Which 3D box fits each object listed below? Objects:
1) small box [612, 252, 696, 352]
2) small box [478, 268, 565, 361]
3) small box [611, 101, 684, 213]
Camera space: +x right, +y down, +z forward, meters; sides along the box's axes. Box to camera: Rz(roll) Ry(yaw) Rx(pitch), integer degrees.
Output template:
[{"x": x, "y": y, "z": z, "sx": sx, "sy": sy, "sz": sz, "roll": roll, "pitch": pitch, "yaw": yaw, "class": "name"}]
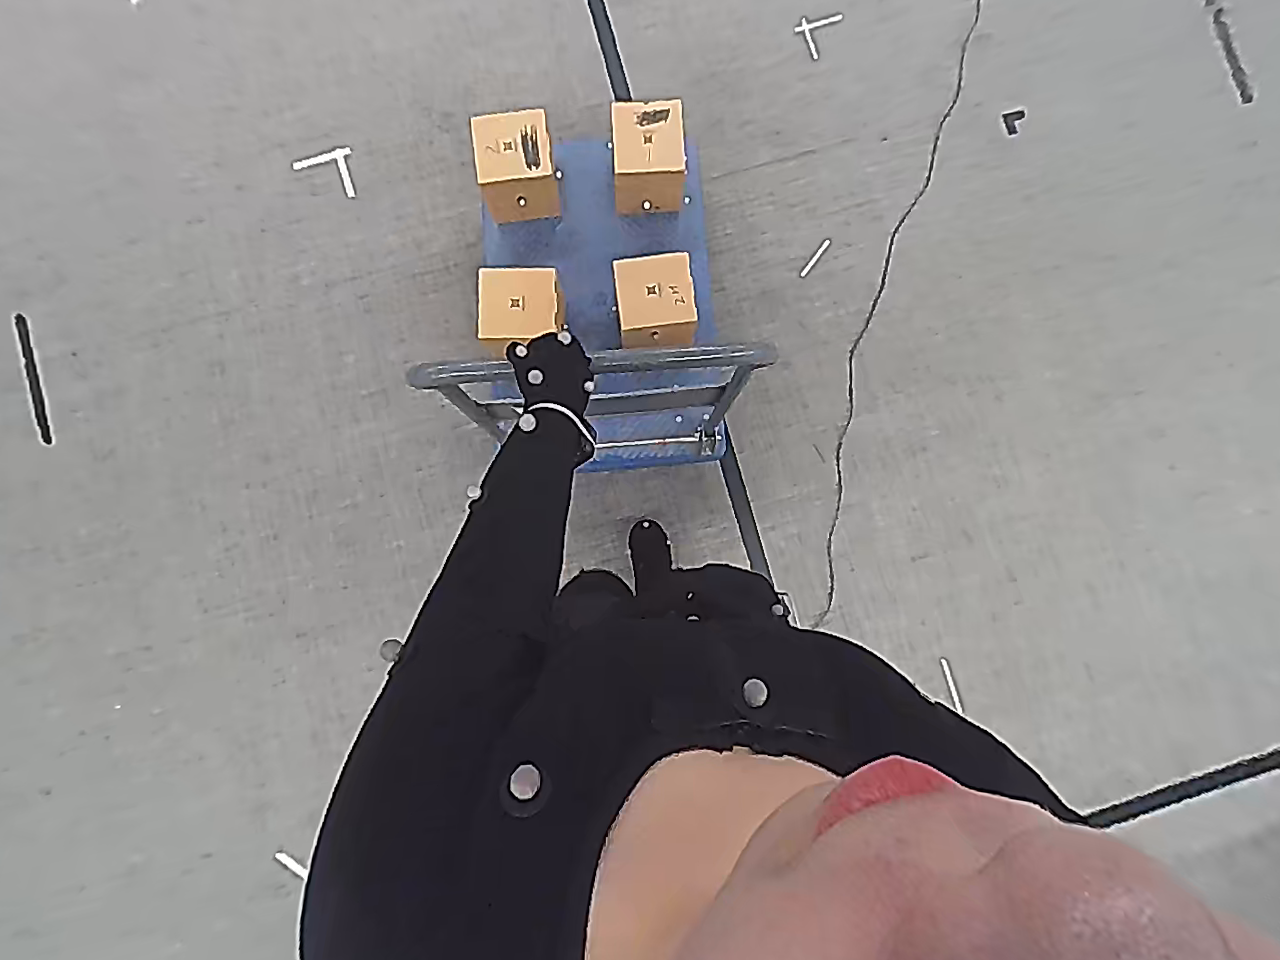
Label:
[{"x": 0.033, "y": -0.418, "z": 1.294, "sx": 0.179, "sy": 0.176, "sz": 0.168, "roll": -7, "pitch": 85, "yaw": -1, "class": "small box"}, {"x": -0.276, "y": -0.387, "z": 1.289, "sx": 0.179, "sy": 0.176, "sz": 0.168, "roll": -1, "pitch": 84, "yaw": -3, "class": "small box"}, {"x": 0.016, "y": -0.787, "z": 1.328, "sx": 0.168, "sy": 0.176, "sz": 0.179, "roll": -3, "pitch": 86, "yaw": -1, "class": "small box"}]
